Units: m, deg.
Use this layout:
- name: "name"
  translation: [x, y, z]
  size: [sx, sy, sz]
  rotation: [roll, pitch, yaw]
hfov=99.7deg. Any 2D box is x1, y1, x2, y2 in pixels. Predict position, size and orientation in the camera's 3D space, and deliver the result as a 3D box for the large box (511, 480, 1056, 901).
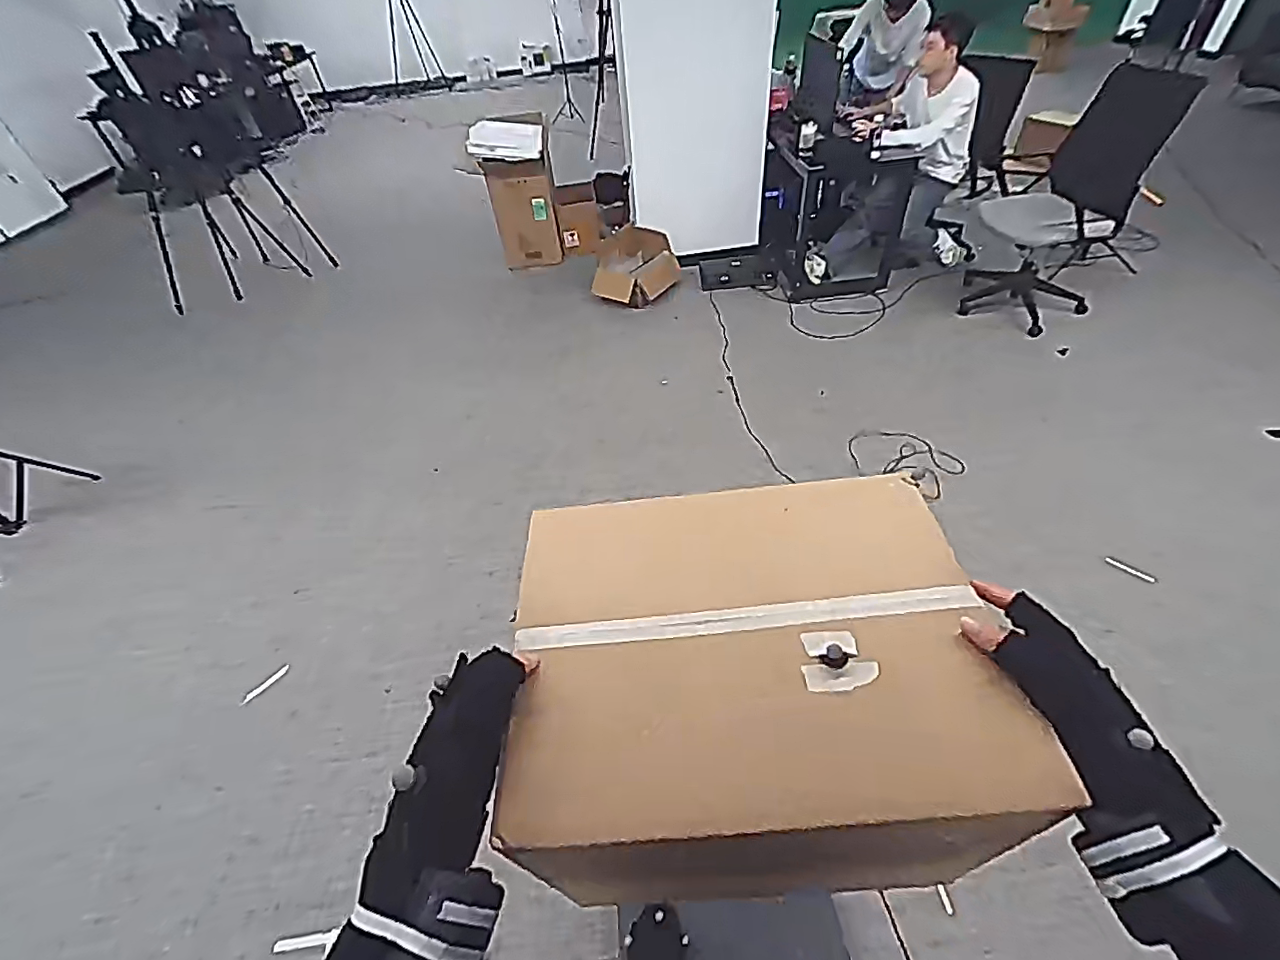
- name: "large box"
  translation: [0.106, 0.234, 0.596]
  size: [0.408, 0.320, 0.320]
  rotation: [-6, 46, 2]
